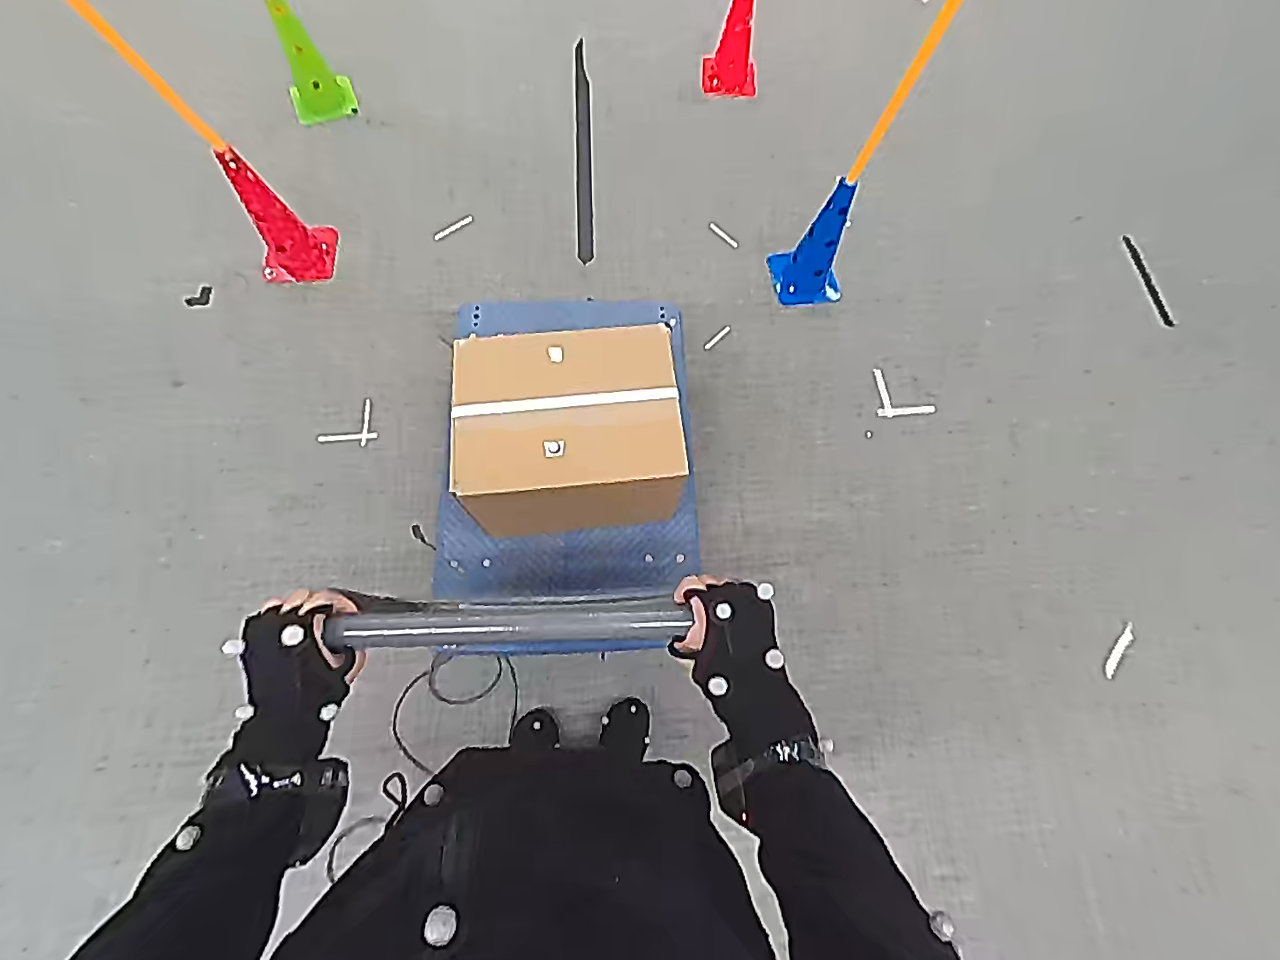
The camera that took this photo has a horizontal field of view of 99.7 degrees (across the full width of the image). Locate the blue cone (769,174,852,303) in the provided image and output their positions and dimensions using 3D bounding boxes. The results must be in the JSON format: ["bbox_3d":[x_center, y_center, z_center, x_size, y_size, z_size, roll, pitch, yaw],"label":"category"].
[{"bbox_3d":[0.523,-0.699,1.559,0.193,0.380,0.192,-6,69,-6],"label":"blue cone"}]

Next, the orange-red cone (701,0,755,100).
[{"bbox_3d":[0.338,-1.544,1.844,0.199,0.360,0.198,4,70,-3],"label":"orange-red cone"}]
